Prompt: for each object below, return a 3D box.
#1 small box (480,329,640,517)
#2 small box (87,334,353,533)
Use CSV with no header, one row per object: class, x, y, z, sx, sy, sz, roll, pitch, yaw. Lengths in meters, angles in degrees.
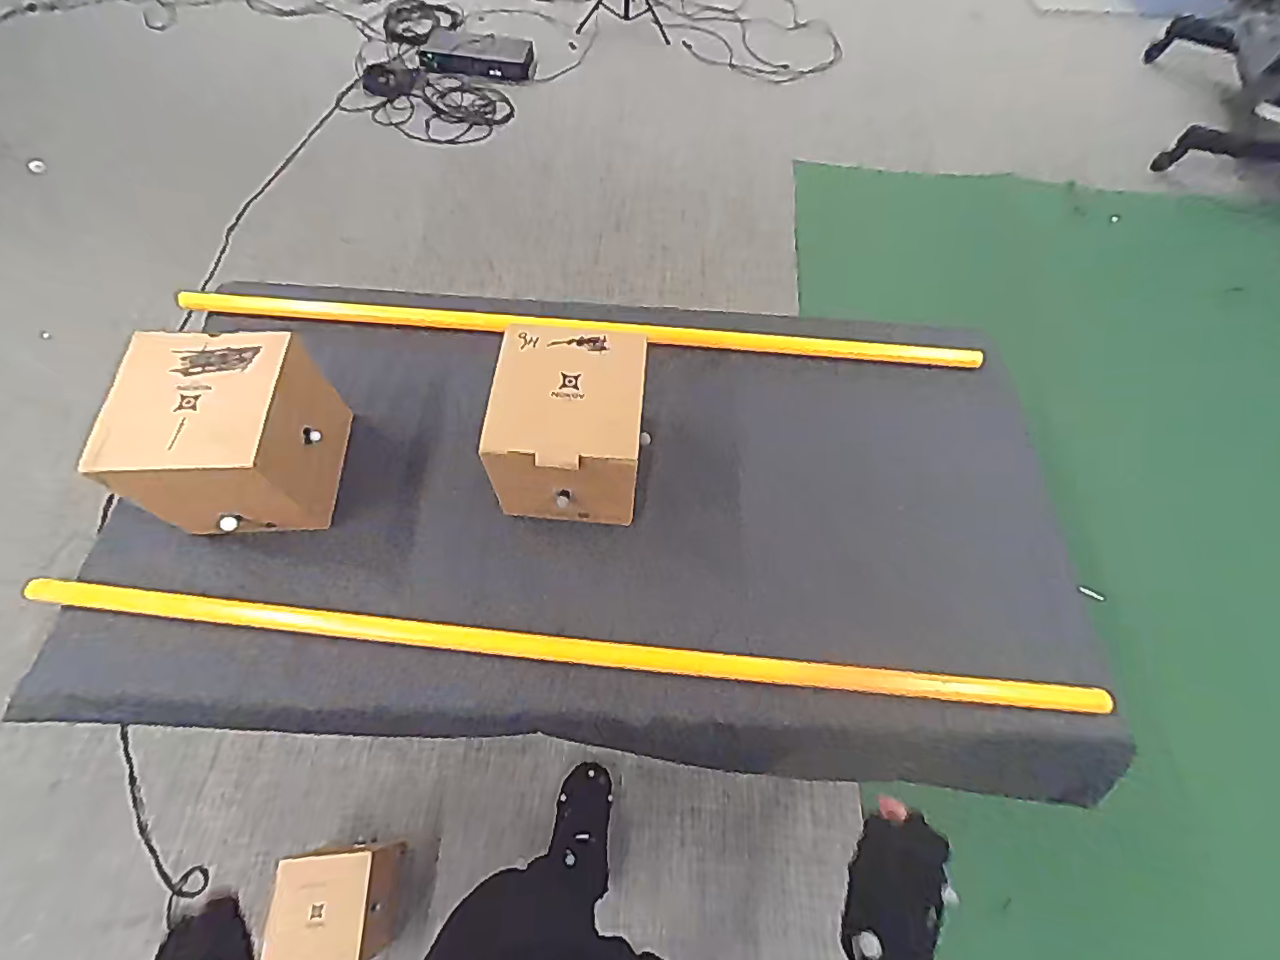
small box,-0.084,-0.063,0.667,0.168,0.176,0.179,1,62,-1
small box,-0.465,-0.050,0.638,0.168,0.176,0.179,-2,64,-4
